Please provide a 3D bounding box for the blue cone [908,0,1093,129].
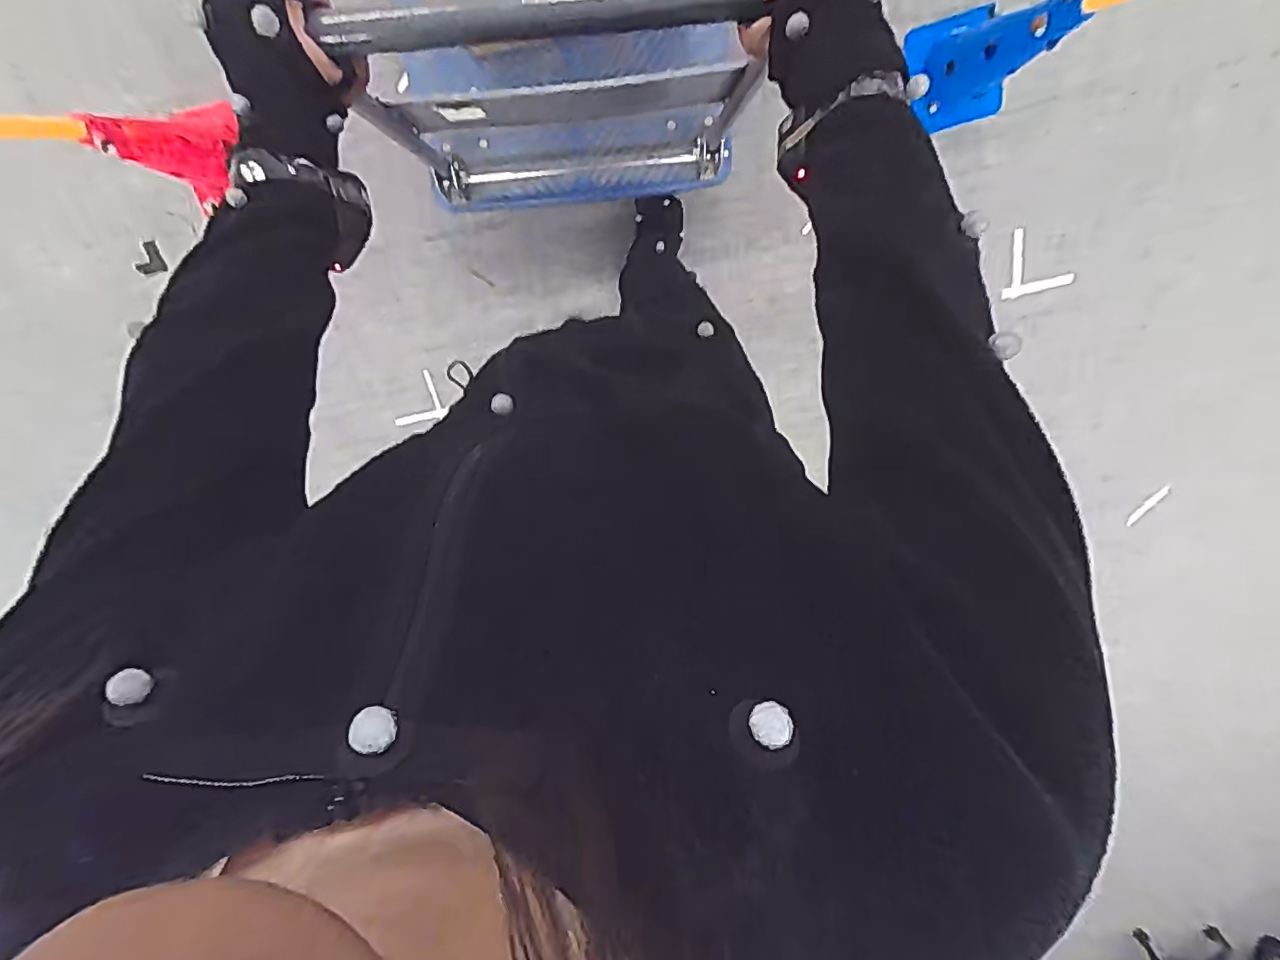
[{"bbox_3d":[0.672,-0.799,0.983,0.193,0.380,0.192,-15,112,3],"label":"blue cone"}]
